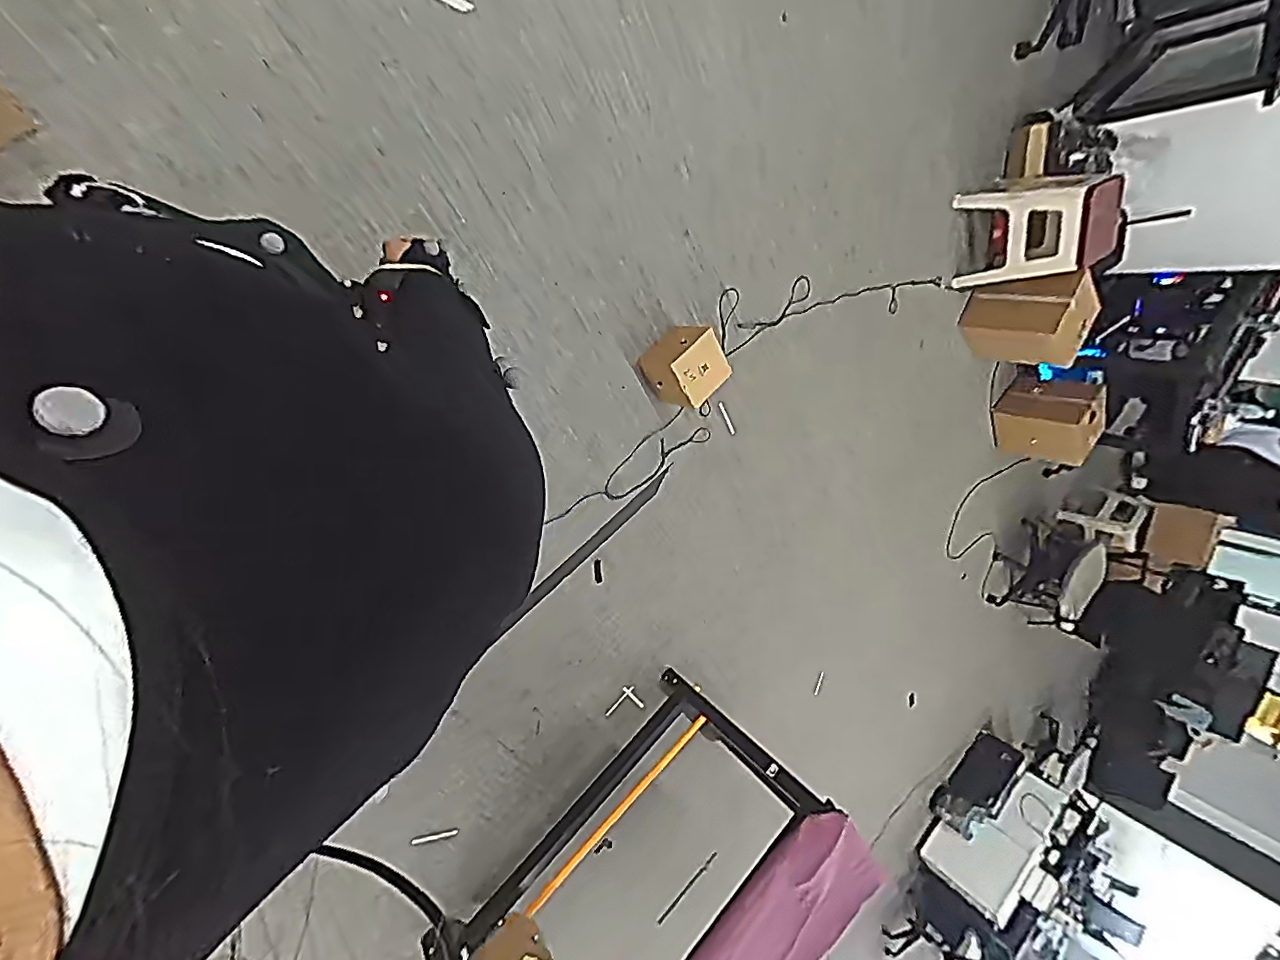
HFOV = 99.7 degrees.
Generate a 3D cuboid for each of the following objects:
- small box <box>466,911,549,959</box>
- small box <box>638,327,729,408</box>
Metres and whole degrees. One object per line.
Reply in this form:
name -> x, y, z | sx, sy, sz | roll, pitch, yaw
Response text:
small box -> -0.418, 1.517, 1.708 | 0.168, 0.176, 0.179 | -43, 126, -17
small box -> 0.128, -0.342, 1.613 | 0.179, 0.176, 0.168 | -45, 125, -15
